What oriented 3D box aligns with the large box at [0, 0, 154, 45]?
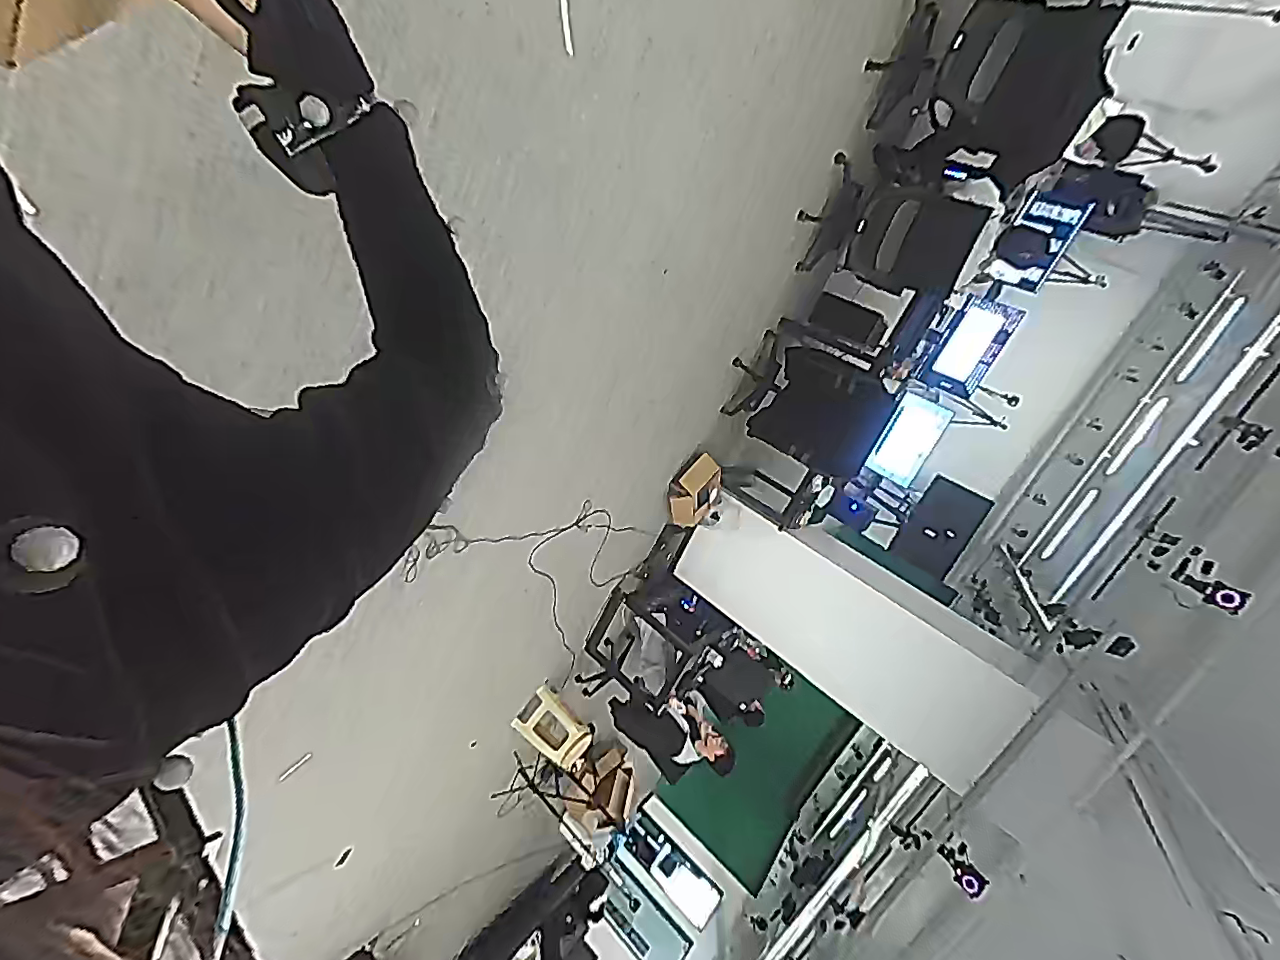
[{"bbox_3d":[-0.371,-0.469,0.171,0.408,0.320,0.320,24,123,-40],"label":"large box"}]
